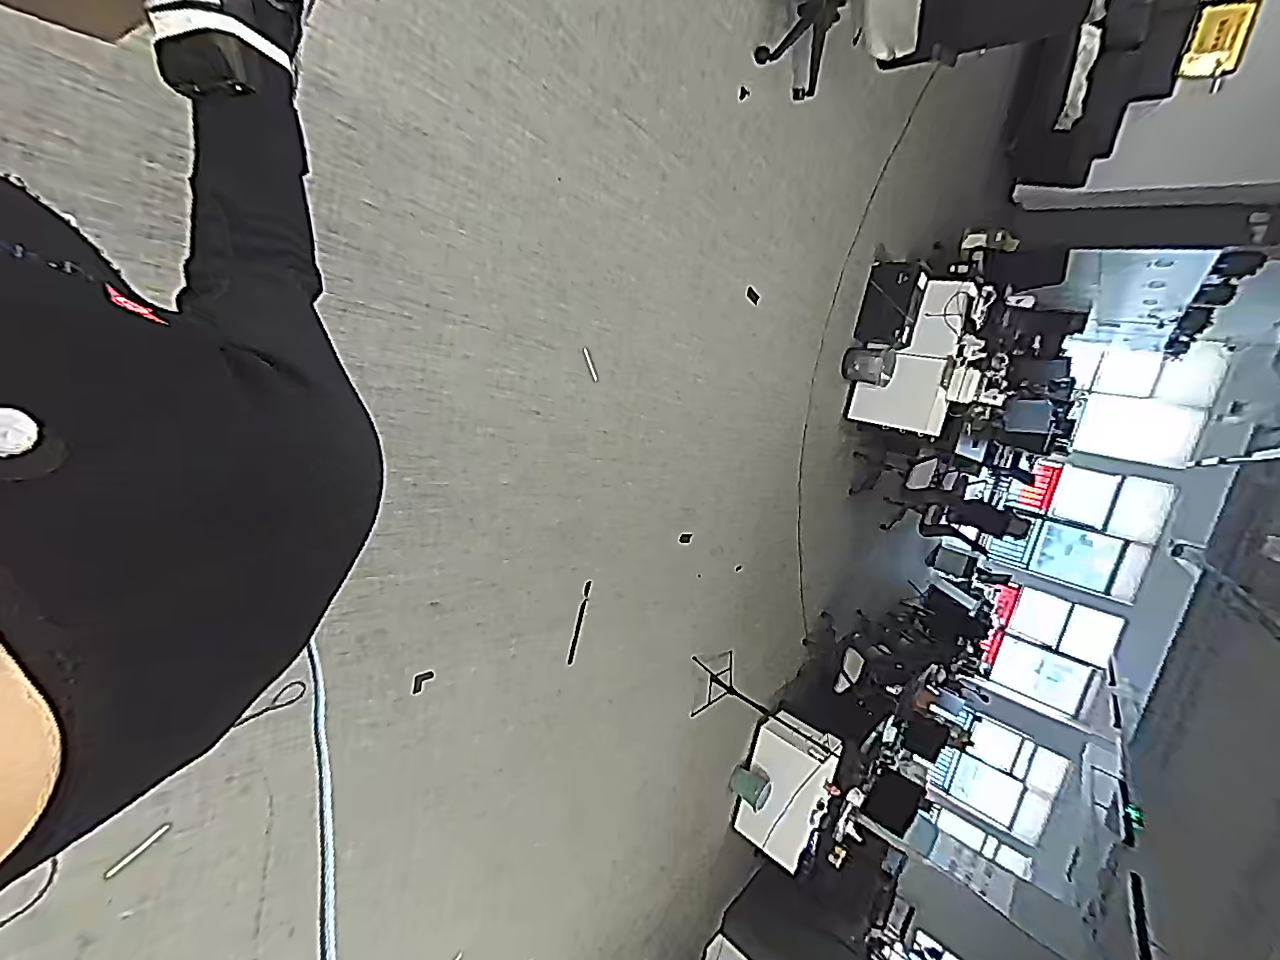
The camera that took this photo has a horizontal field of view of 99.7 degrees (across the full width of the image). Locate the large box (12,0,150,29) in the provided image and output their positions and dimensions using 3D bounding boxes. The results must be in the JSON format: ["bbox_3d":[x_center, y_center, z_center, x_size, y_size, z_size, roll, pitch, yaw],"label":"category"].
[{"bbox_3d":[-0.516,-0.506,0.256,0.408,0.320,0.320,-13,121,-51],"label":"large box"}]
